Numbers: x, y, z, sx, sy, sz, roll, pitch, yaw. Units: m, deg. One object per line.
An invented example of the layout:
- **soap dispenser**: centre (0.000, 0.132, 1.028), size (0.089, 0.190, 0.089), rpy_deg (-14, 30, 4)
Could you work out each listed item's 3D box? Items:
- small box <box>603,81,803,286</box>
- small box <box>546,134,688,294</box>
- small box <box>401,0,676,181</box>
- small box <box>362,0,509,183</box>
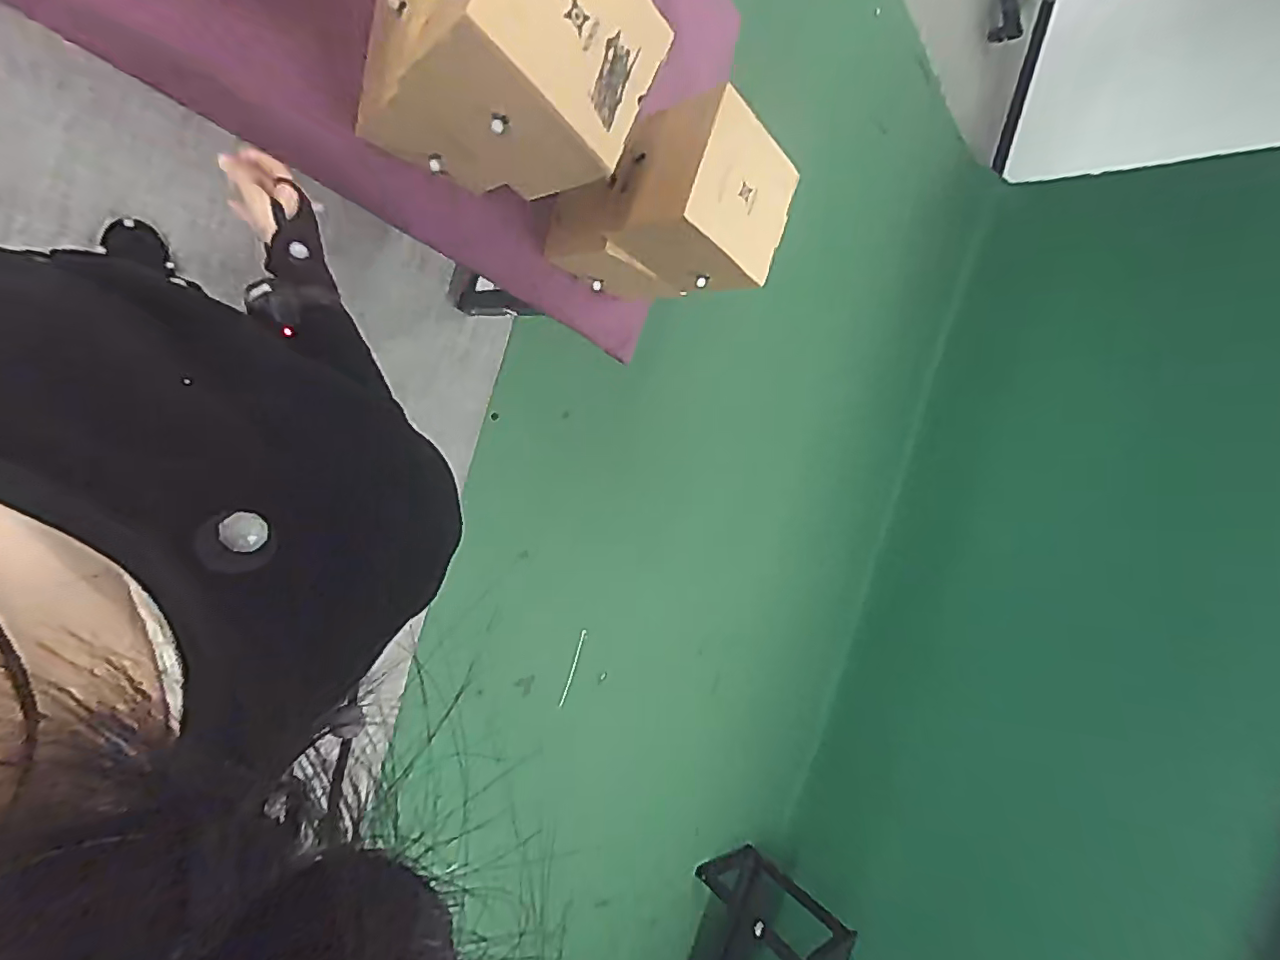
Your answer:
- **small box**: centre (0.083, -0.380, 0.730), size (0.179, 0.176, 0.168), rpy_deg (20, 90, -43)
- **small box**: centre (-0.018, -0.408, 0.856), size (0.179, 0.176, 0.168), rpy_deg (13, 94, -44)
- **small box**: centre (-0.102, -0.432, 0.542), size (0.179, 0.176, 0.168), rpy_deg (29, 82, -43)
- **small box**: centre (-0.215, -0.493, 0.649), size (0.168, 0.176, 0.179), rpy_deg (9, 96, -43)
